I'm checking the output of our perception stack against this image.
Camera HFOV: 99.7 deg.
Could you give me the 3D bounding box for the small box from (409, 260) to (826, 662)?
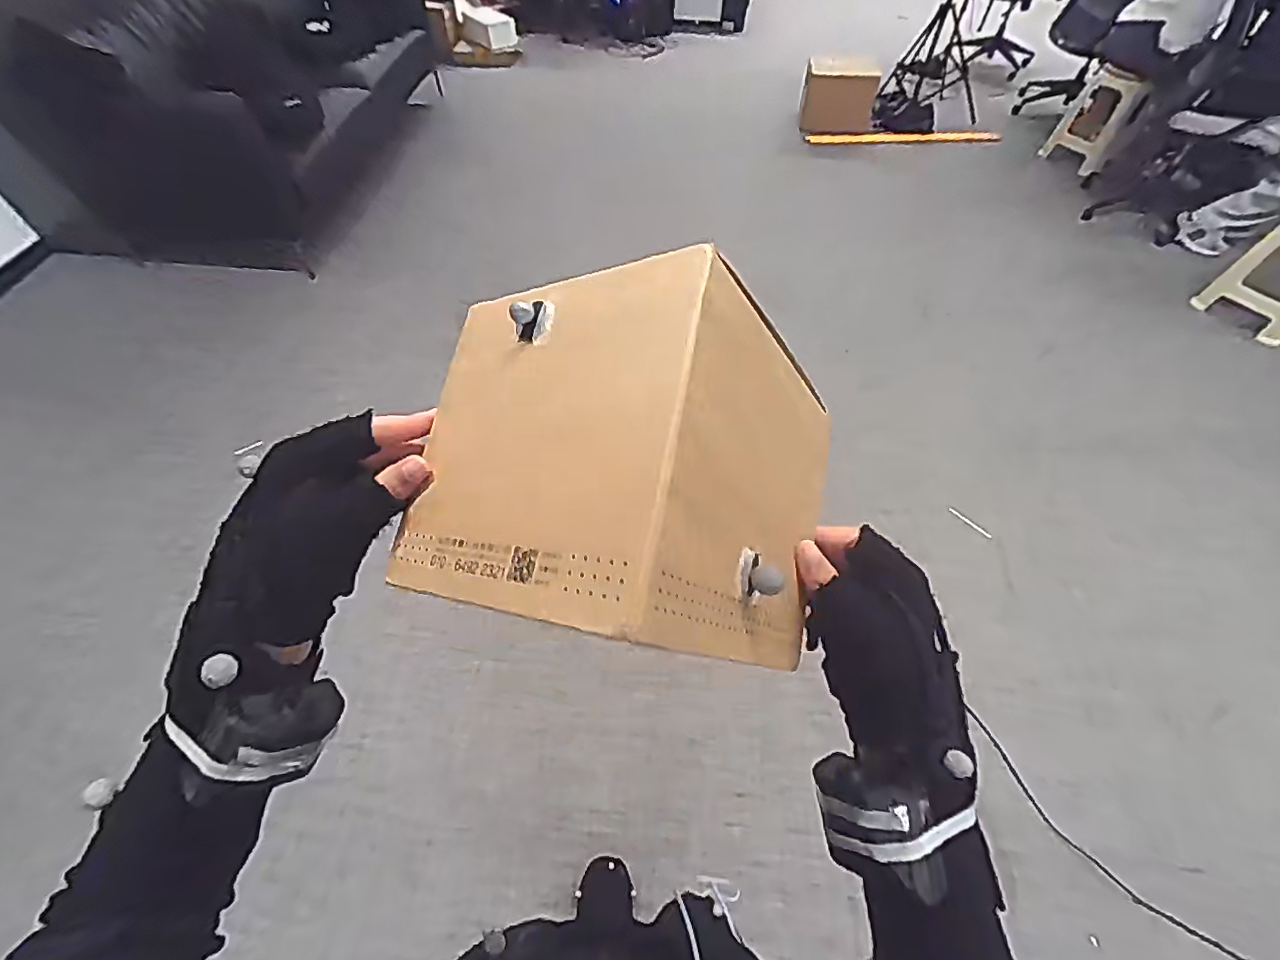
[{"bbox_3d":[-0.003,0.007,0.330,0.168,0.179,0.176,0,70,37],"label":"small box"}]
